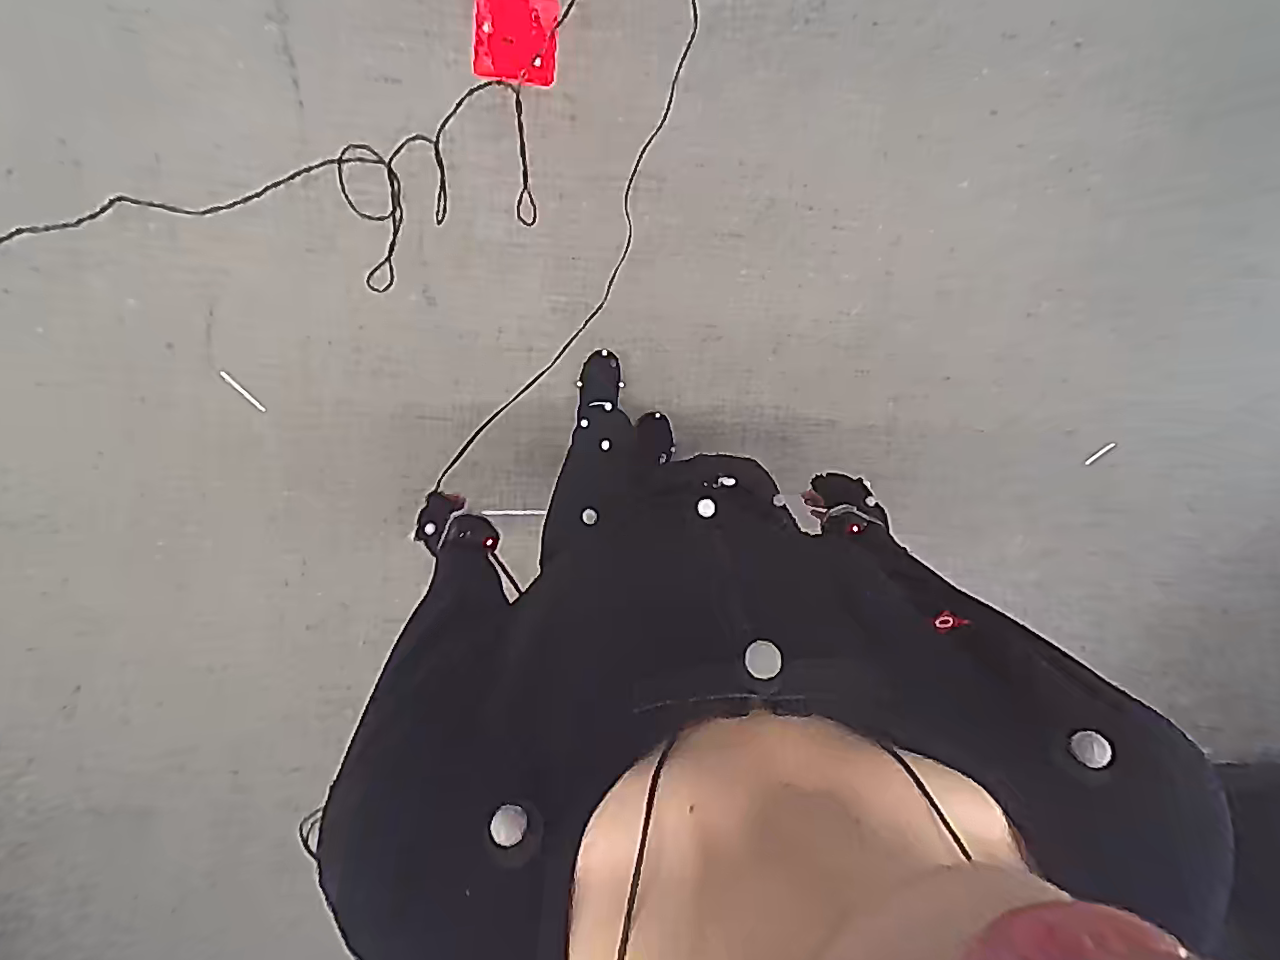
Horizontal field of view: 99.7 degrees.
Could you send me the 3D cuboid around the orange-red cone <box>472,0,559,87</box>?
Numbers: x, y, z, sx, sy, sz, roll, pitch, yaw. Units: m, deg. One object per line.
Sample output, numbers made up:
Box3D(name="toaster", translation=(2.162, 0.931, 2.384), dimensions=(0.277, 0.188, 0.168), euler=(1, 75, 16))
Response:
Box3D(name="orange-red cone", translation=(-0.289, -1.048, 1.139), dimensions=(0.198, 0.360, 0.199), euler=(6, 98, -5))
